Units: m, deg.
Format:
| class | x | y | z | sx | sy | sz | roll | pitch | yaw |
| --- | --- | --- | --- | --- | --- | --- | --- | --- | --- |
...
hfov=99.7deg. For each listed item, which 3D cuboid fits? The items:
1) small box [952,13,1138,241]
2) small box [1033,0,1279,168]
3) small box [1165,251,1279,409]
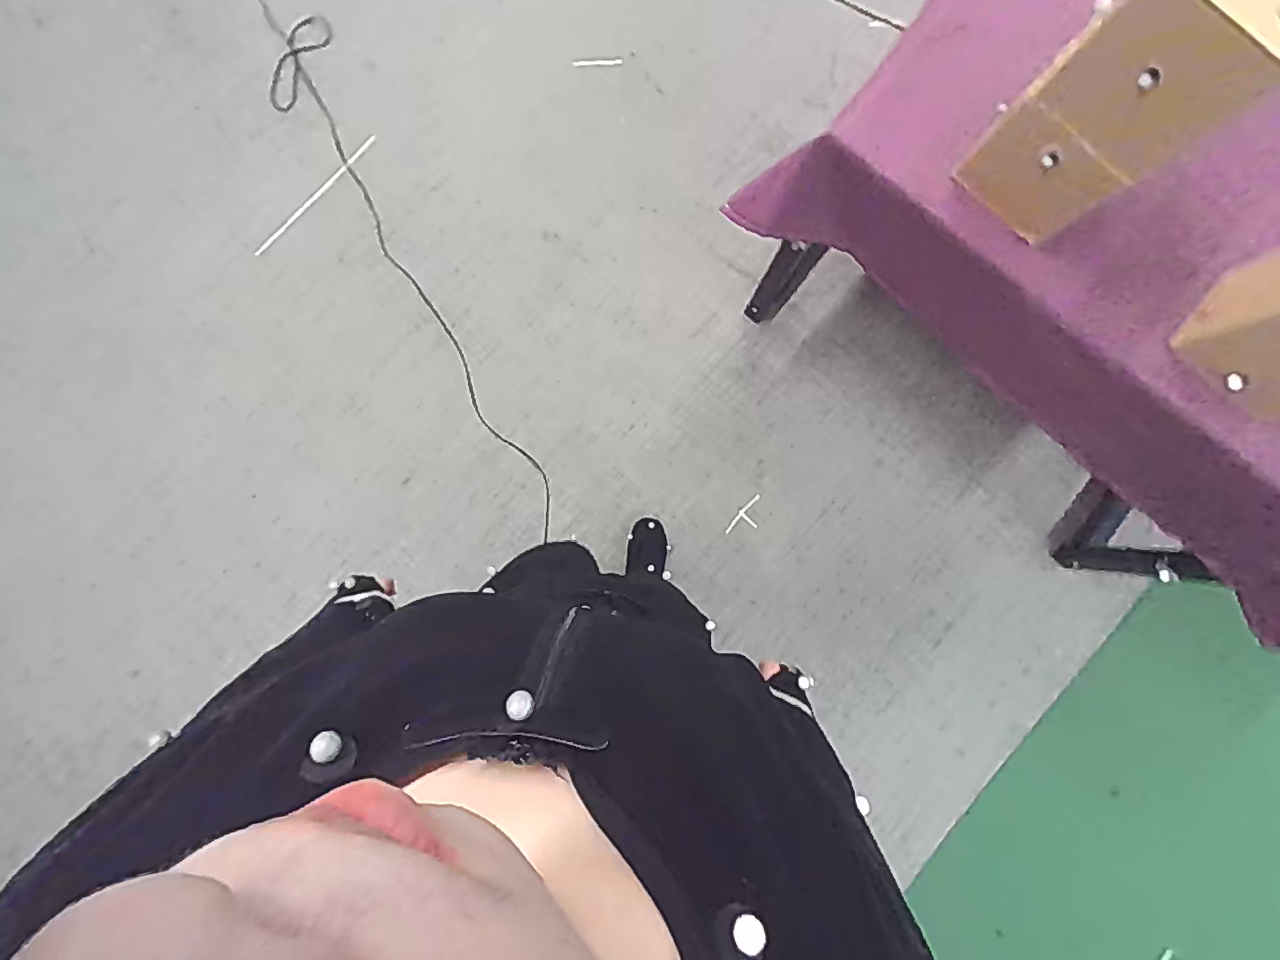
| class | x | y | z | sx | sy | sz | roll | pitch | yaw |
| --- | --- | --- | --- | --- | --- | --- | --- | --- | --- |
| small box | 0.598 | -0.484 | 0.771 | 0.179 | 0.176 | 0.168 | 43 | 86 | 1 |
| small box | 0.609 | -0.495 | 0.608 | 0.179 | 0.176 | 0.168 | 42 | 86 | 3 |
| small box | 0.924 | -0.218 | 0.760 | 0.179 | 0.176 | 0.168 | 42 | 85 | 1 |
